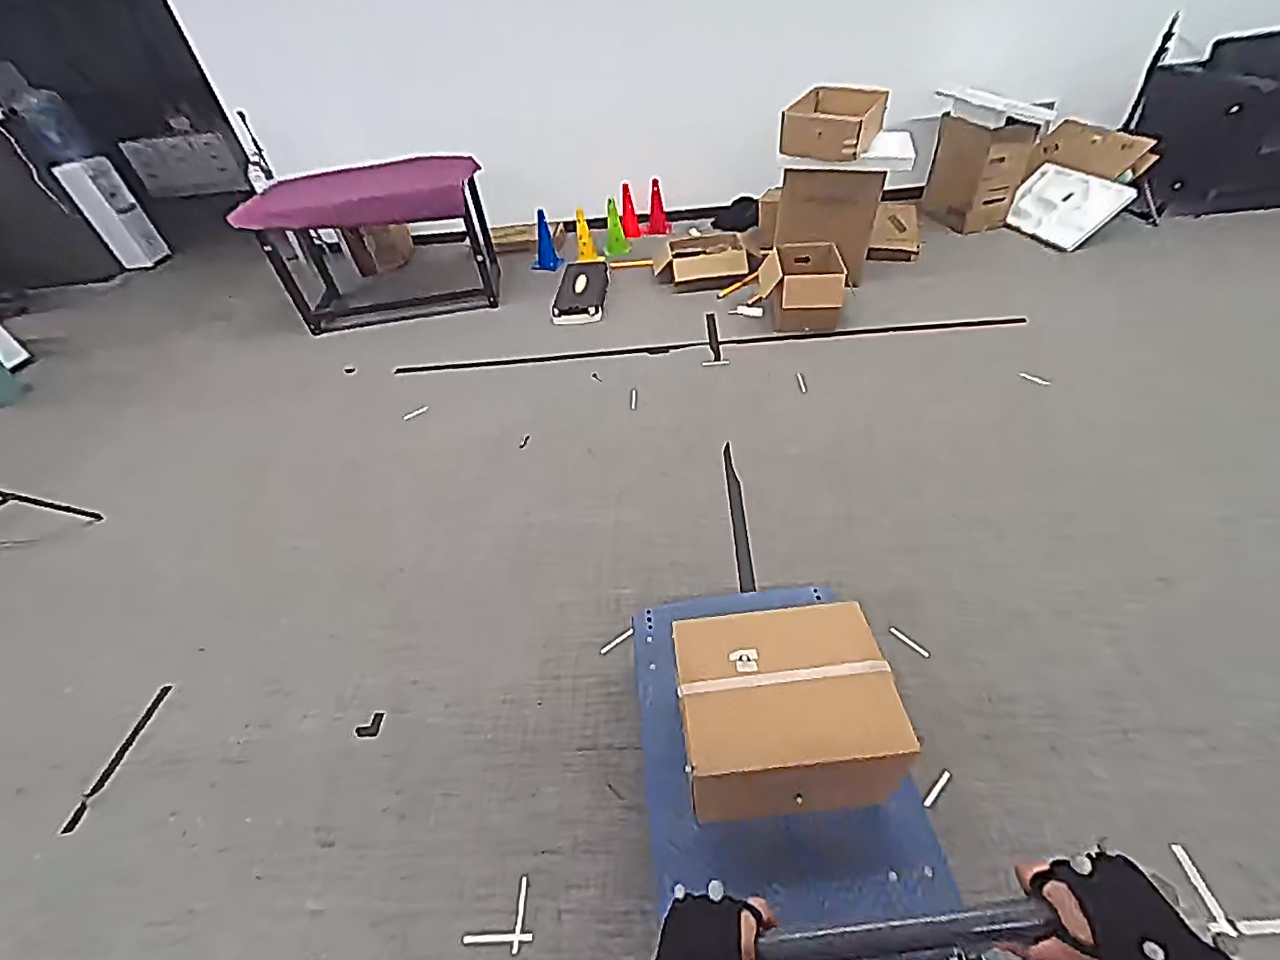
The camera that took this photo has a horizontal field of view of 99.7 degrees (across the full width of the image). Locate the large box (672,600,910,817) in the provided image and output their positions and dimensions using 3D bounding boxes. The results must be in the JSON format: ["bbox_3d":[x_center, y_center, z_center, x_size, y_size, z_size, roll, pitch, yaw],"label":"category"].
[{"bbox_3d":[0.297,0.503,1.182,0.408,0.320,0.320,-8,43,1],"label":"large box"}]
